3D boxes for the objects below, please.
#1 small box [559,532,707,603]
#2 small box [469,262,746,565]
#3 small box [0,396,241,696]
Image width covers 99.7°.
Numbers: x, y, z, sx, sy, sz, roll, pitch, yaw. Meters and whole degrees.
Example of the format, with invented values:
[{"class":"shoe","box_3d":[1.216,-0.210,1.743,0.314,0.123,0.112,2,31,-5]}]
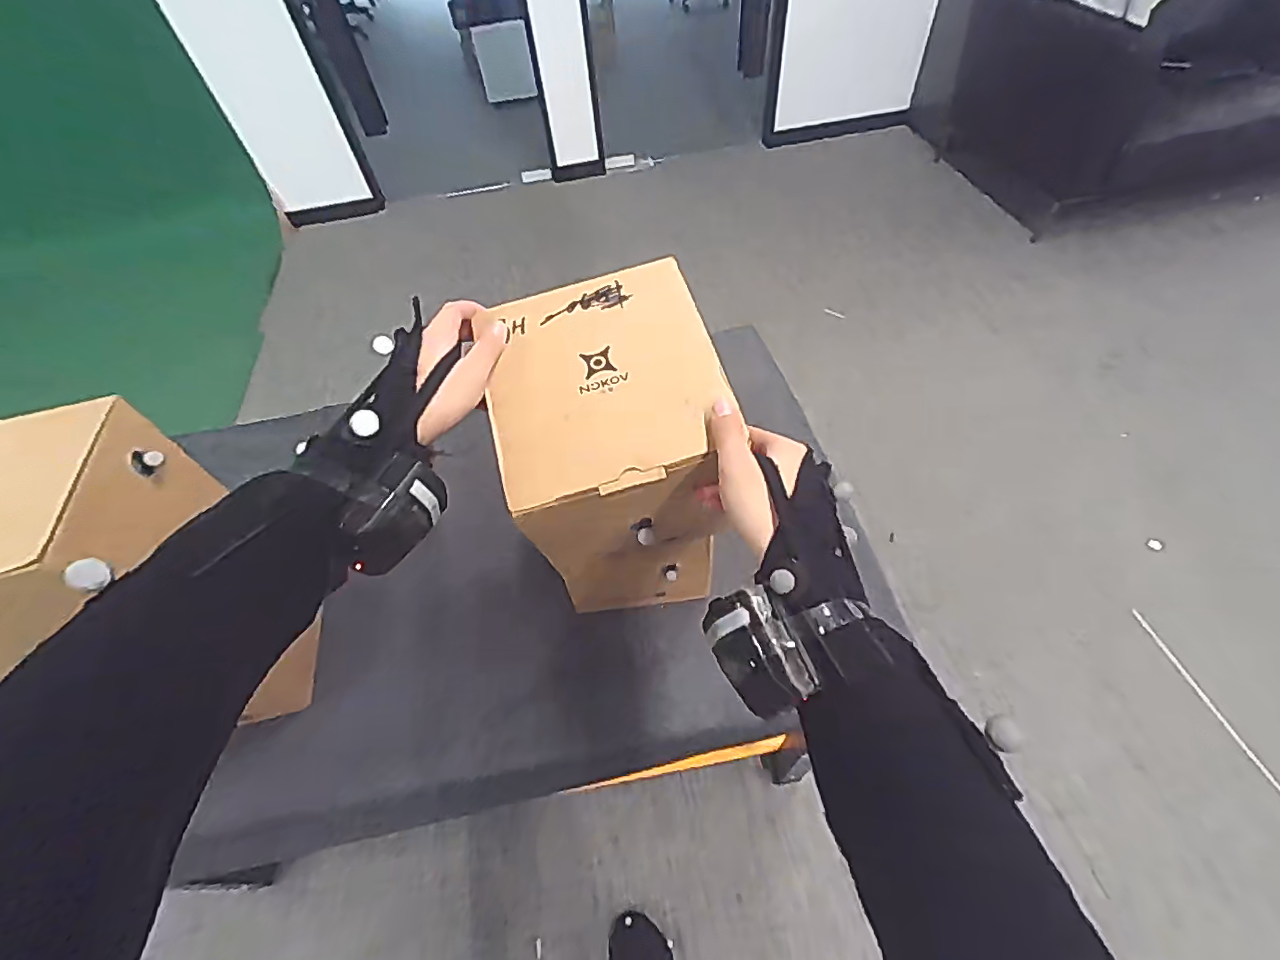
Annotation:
[{"class":"small box","box_3d":[-0.011,0.037,0.653,0.168,0.176,0.179,-7,52,-1]},{"class":"small box","box_3d":[-0.022,-0.039,0.453,0.168,0.176,0.179,-17,67,-2]},{"class":"small box","box_3d":[-0.491,0.060,0.470,0.168,0.176,0.179,-16,53,-6]}]
